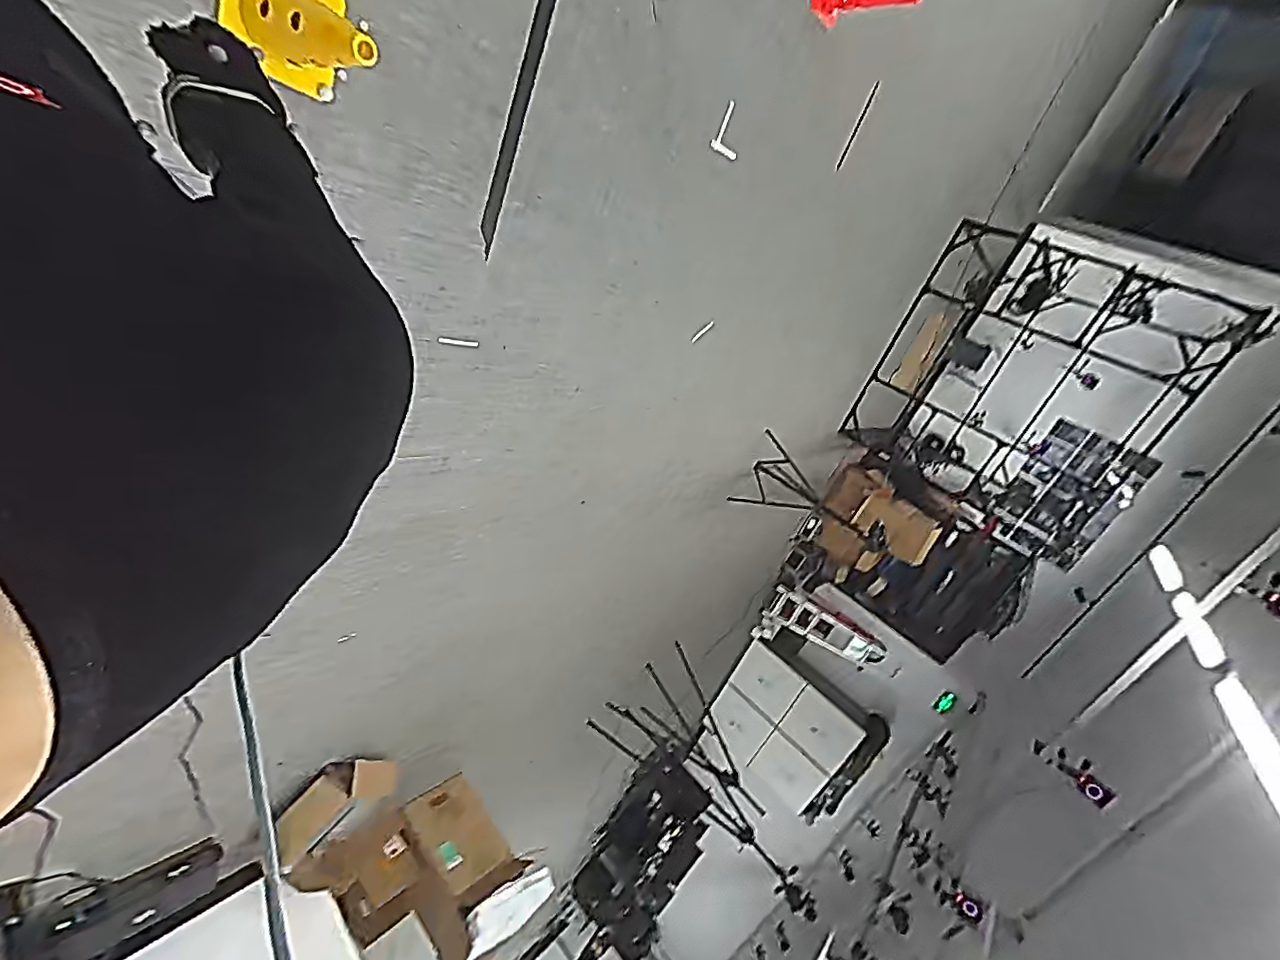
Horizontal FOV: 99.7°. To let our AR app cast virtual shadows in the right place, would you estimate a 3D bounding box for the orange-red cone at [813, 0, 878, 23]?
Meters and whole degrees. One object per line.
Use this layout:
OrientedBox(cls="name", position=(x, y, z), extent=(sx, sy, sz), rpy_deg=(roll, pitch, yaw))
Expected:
OrientedBox(cls="orange-red cone", position=(0.832, -1.746, 1.903), extent=(0.198, 0.360, 0.199), rpy_deg=(-15, 132, -49))
